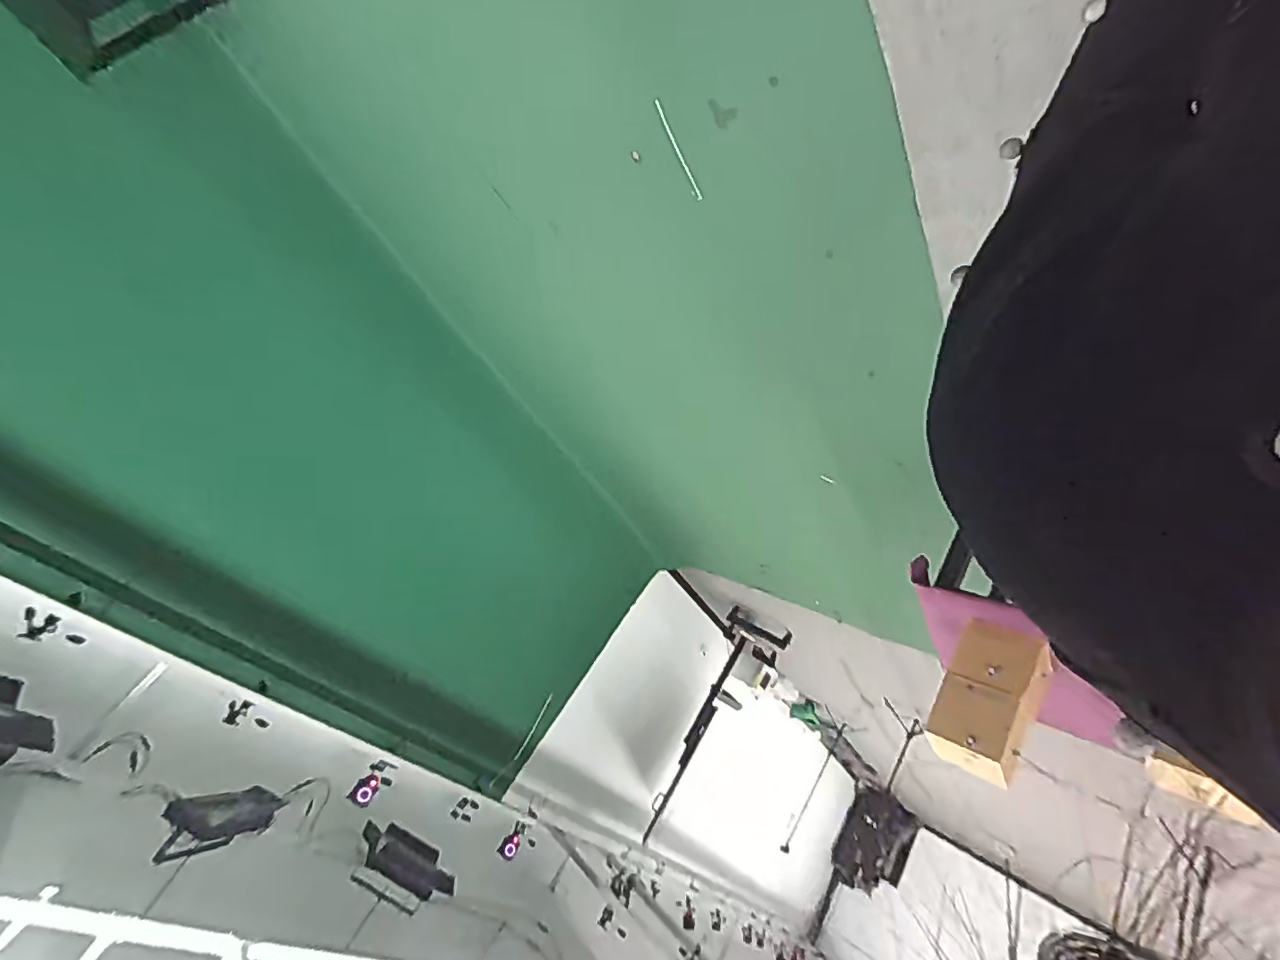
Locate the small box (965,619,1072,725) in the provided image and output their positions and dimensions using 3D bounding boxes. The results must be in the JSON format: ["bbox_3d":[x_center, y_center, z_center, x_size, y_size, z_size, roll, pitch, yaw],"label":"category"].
[{"bbox_3d":[0.965,0.479,1.375,0.179,0.176,0.168,10,146,49],"label":"small box"}]

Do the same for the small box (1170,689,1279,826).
[{"bbox_3d":[1.230,0.564,1.116,0.168,0.176,0.179,14,151,49],"label":"small box"}]

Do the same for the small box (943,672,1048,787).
[{"bbox_3d":[0.872,0.604,1.322,0.168,0.176,0.179,10,147,48],"label":"small box"}]
